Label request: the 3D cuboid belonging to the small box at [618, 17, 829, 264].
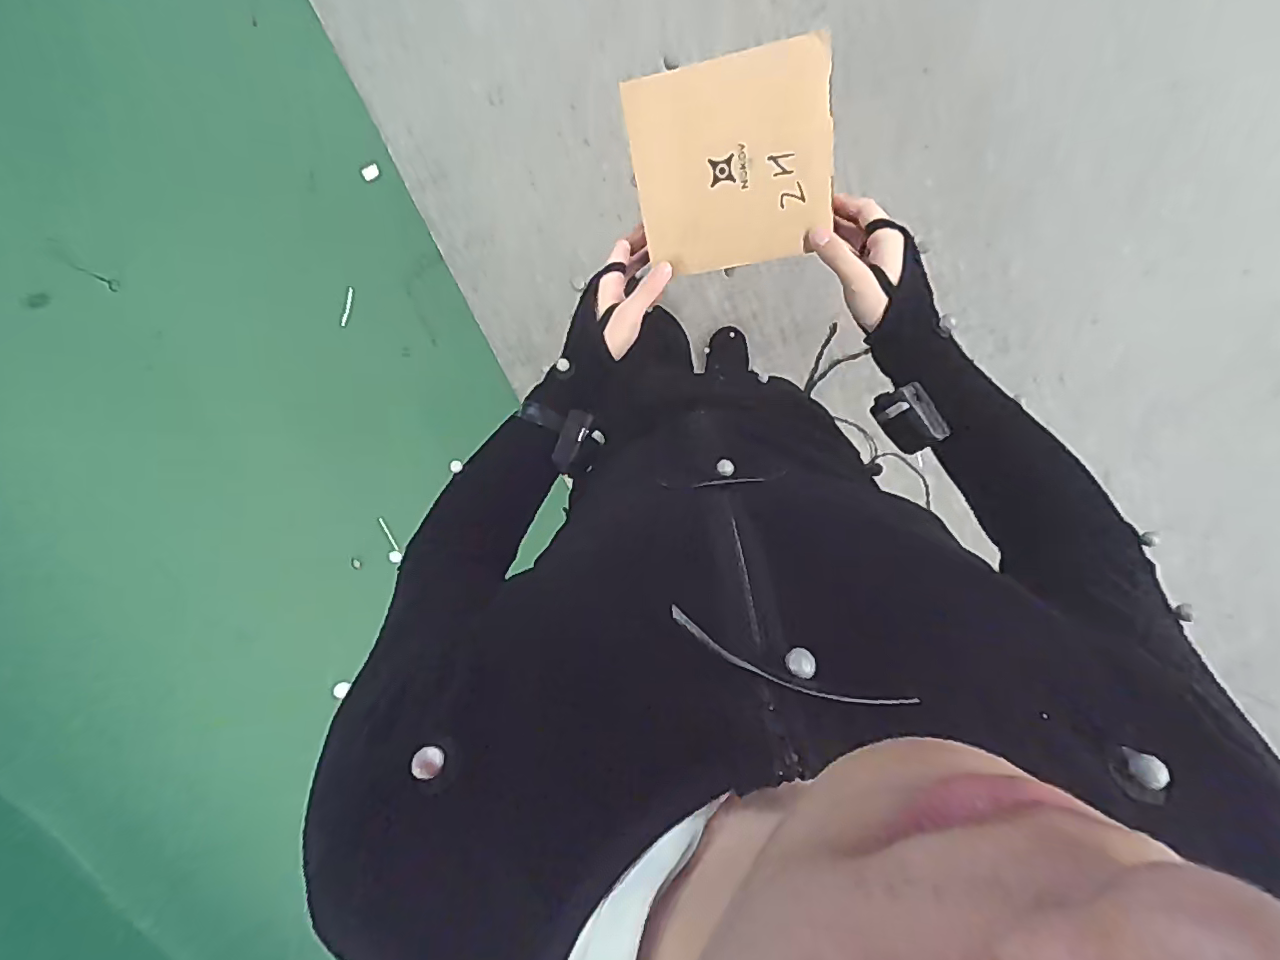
[{"bbox_3d":[0.089,-0.332,0.553,0.179,0.176,0.168,-6,120,11],"label":"small box"}]
